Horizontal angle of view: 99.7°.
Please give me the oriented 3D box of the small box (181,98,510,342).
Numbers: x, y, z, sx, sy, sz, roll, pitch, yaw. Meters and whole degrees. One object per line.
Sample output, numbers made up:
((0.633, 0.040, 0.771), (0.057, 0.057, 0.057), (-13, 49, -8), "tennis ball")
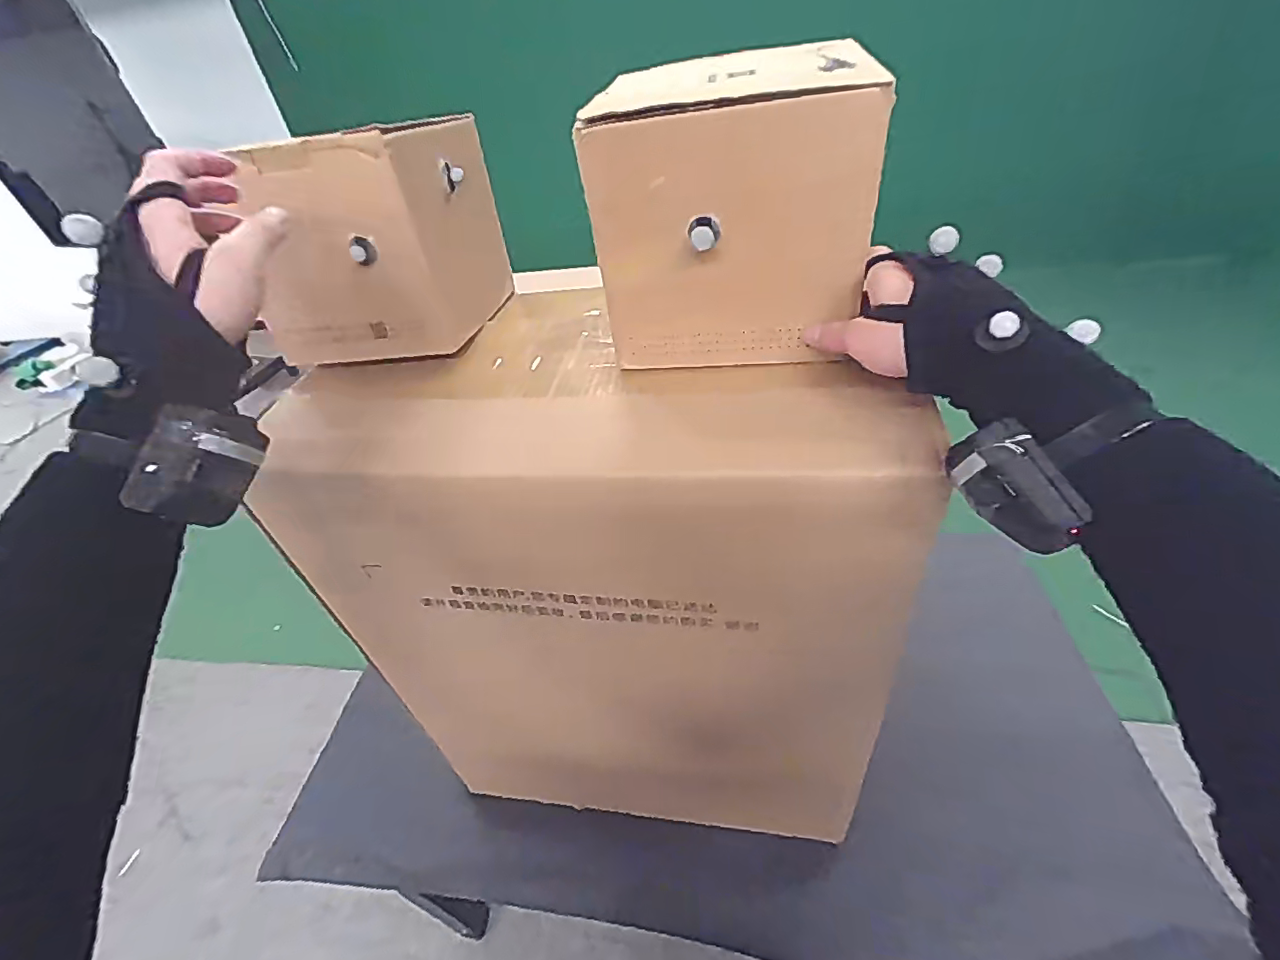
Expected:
((-0.231, -0.229, 0.484), (0.168, 0.176, 0.179), (-1, 34, 8), "small box")

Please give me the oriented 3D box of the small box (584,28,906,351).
((0.073, -0.208, 0.401), (0.179, 0.176, 0.168), (-1, 44, 10), "small box")
